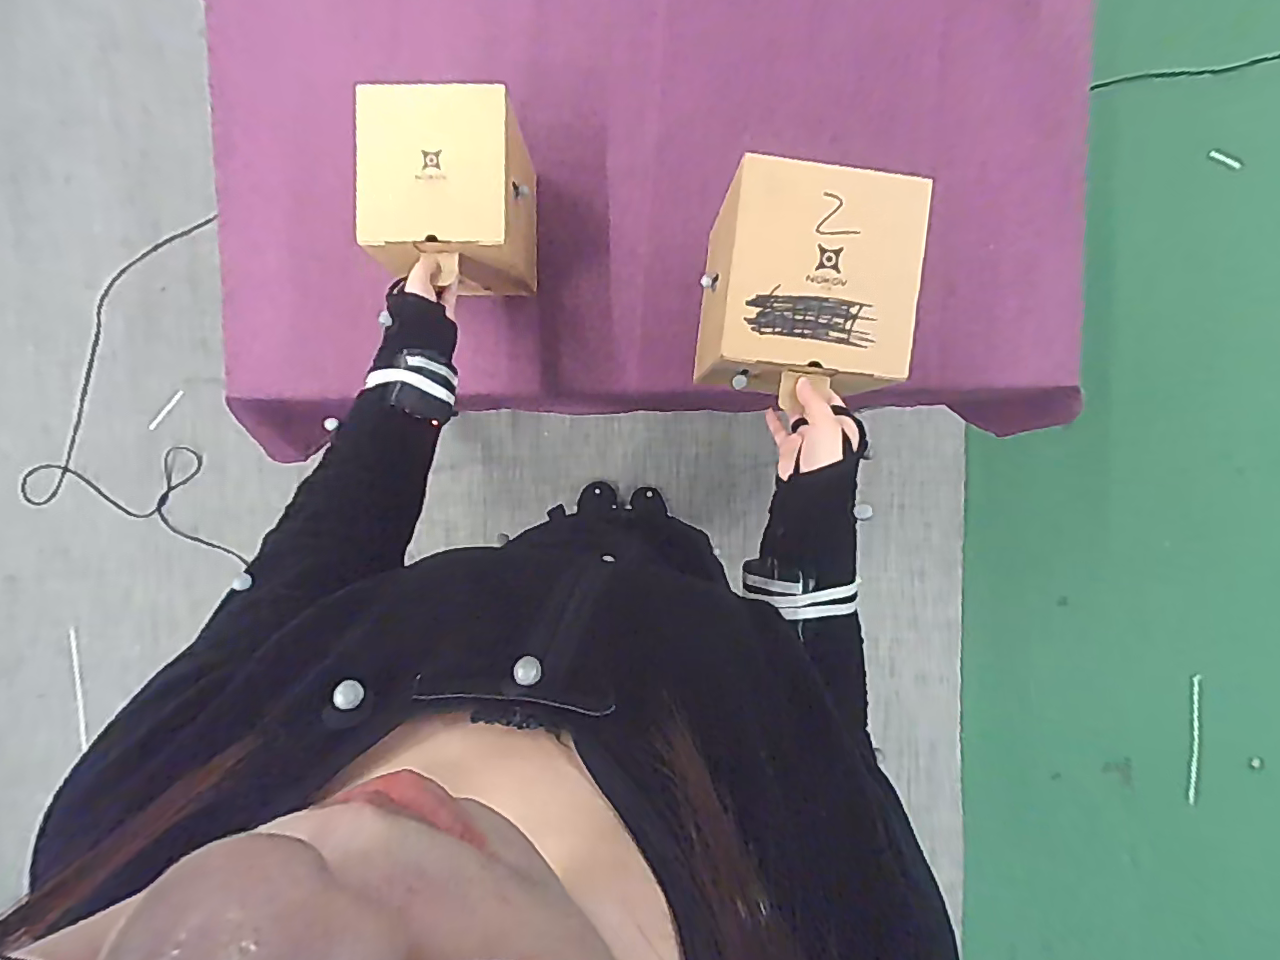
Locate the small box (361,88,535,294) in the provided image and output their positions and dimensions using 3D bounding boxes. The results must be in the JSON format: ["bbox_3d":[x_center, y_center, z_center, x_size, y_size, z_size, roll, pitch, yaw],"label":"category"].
[{"bbox_3d":[-0.231,-0.352,0.687,0.168,0.176,0.179,0,91,0],"label":"small box"}]
